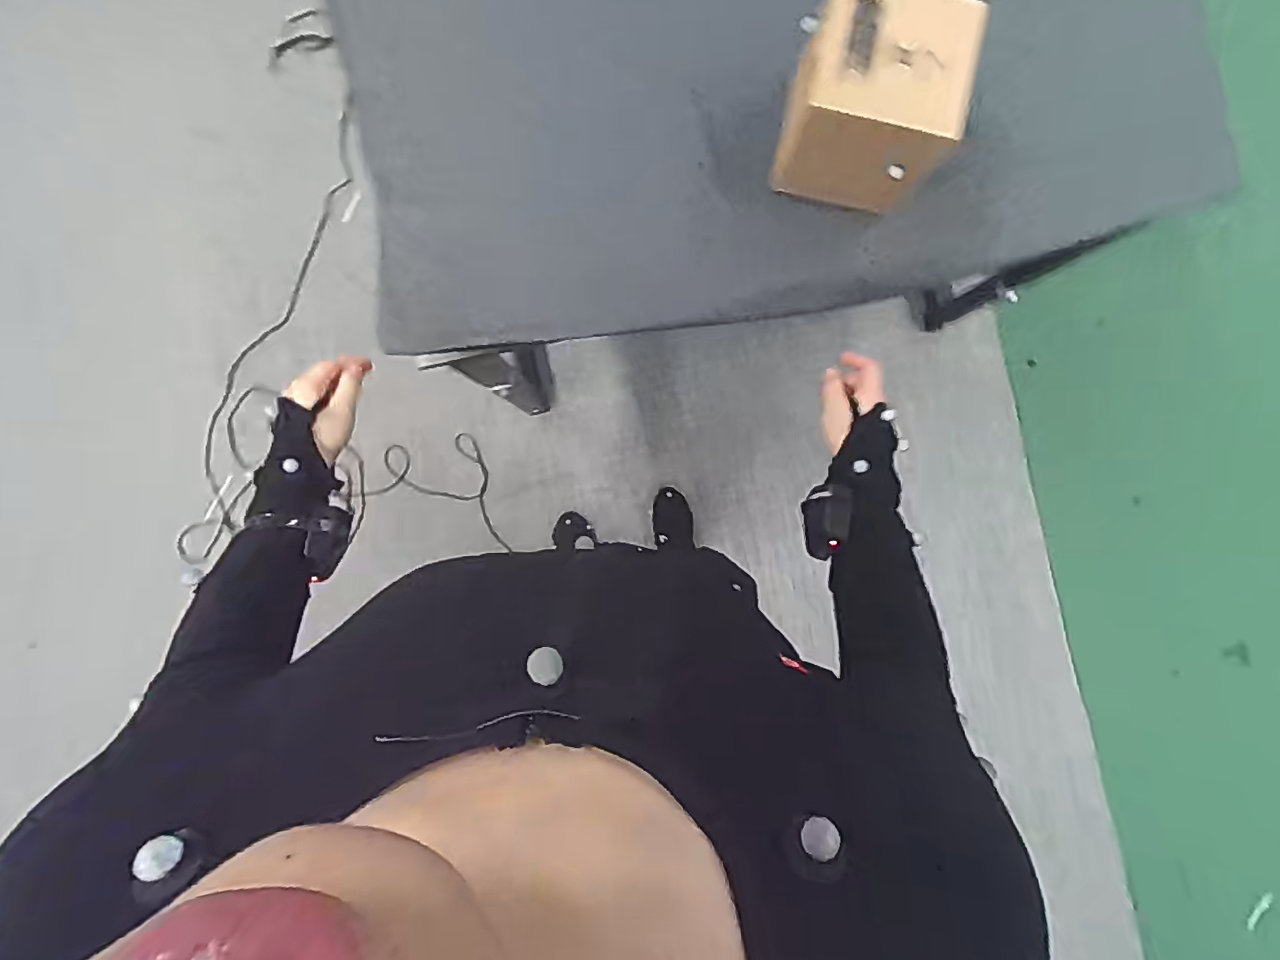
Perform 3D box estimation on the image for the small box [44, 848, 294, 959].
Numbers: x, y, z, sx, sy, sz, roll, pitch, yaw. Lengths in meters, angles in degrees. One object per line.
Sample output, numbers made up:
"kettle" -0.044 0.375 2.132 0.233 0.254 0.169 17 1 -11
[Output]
"small box" -0.543 0.561 0.609 0.168 0.176 0.179 -22 93 0
